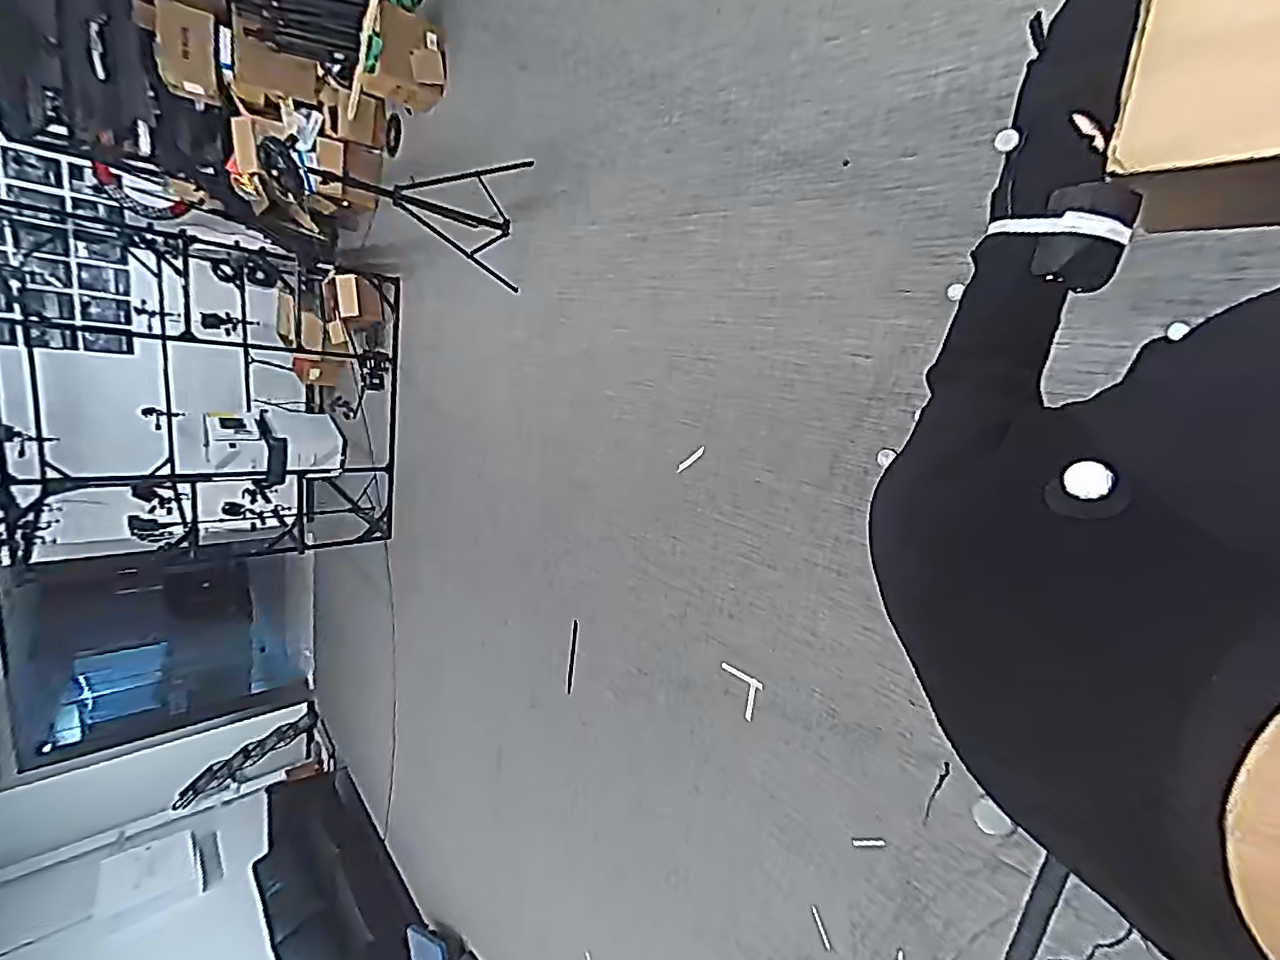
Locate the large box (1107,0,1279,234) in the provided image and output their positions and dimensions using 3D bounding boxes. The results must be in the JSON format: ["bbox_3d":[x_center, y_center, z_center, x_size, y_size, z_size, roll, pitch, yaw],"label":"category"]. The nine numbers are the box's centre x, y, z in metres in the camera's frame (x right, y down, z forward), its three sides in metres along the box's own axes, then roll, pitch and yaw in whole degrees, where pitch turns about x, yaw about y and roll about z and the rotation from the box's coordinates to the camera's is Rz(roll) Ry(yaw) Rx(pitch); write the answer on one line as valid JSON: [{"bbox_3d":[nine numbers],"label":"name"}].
[{"bbox_3d":[0.593,-0.356,0.331,0.408,0.320,0.320,17,113,43],"label":"large box"}]
